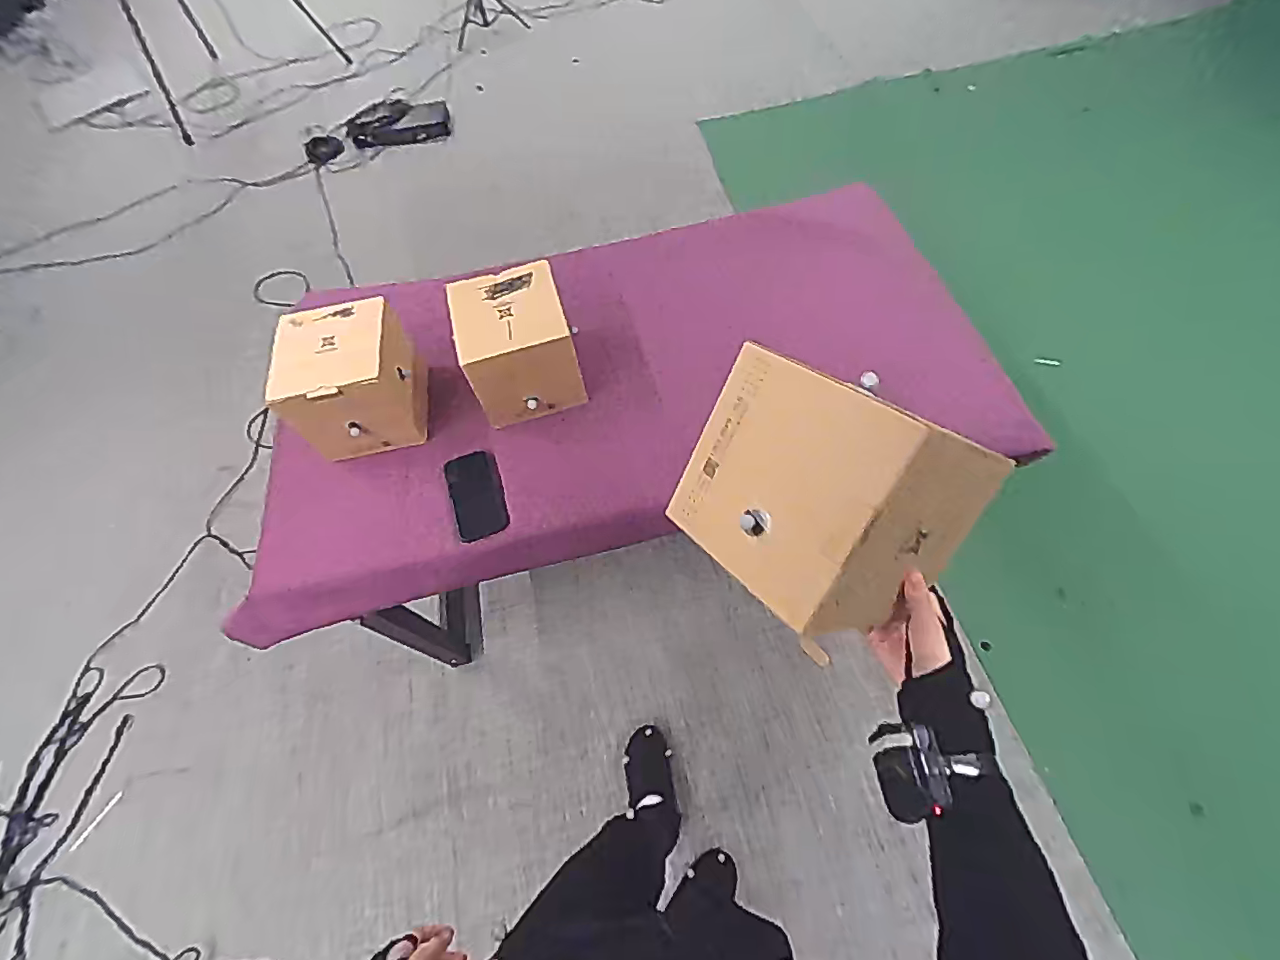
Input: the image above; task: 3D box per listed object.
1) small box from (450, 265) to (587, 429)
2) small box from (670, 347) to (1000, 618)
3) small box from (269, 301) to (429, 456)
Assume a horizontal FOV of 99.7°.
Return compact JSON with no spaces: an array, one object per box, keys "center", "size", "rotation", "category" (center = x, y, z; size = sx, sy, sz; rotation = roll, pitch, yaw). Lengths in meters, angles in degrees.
[{"center":[-0.194,-0.213,0.886],"size":[0.168,0.176,0.179],"rotation":[-16,61,-4],"category":"small box"},{"center":[0.156,-0.001,0.467],"size":[0.176,0.179,0.168],"rotation":[42,115,45],"category":"small box"},{"center":[-0.456,-0.155,0.878],"size":[0.168,0.176,0.179],"rotation":[-11,61,-1],"category":"small box"}]
